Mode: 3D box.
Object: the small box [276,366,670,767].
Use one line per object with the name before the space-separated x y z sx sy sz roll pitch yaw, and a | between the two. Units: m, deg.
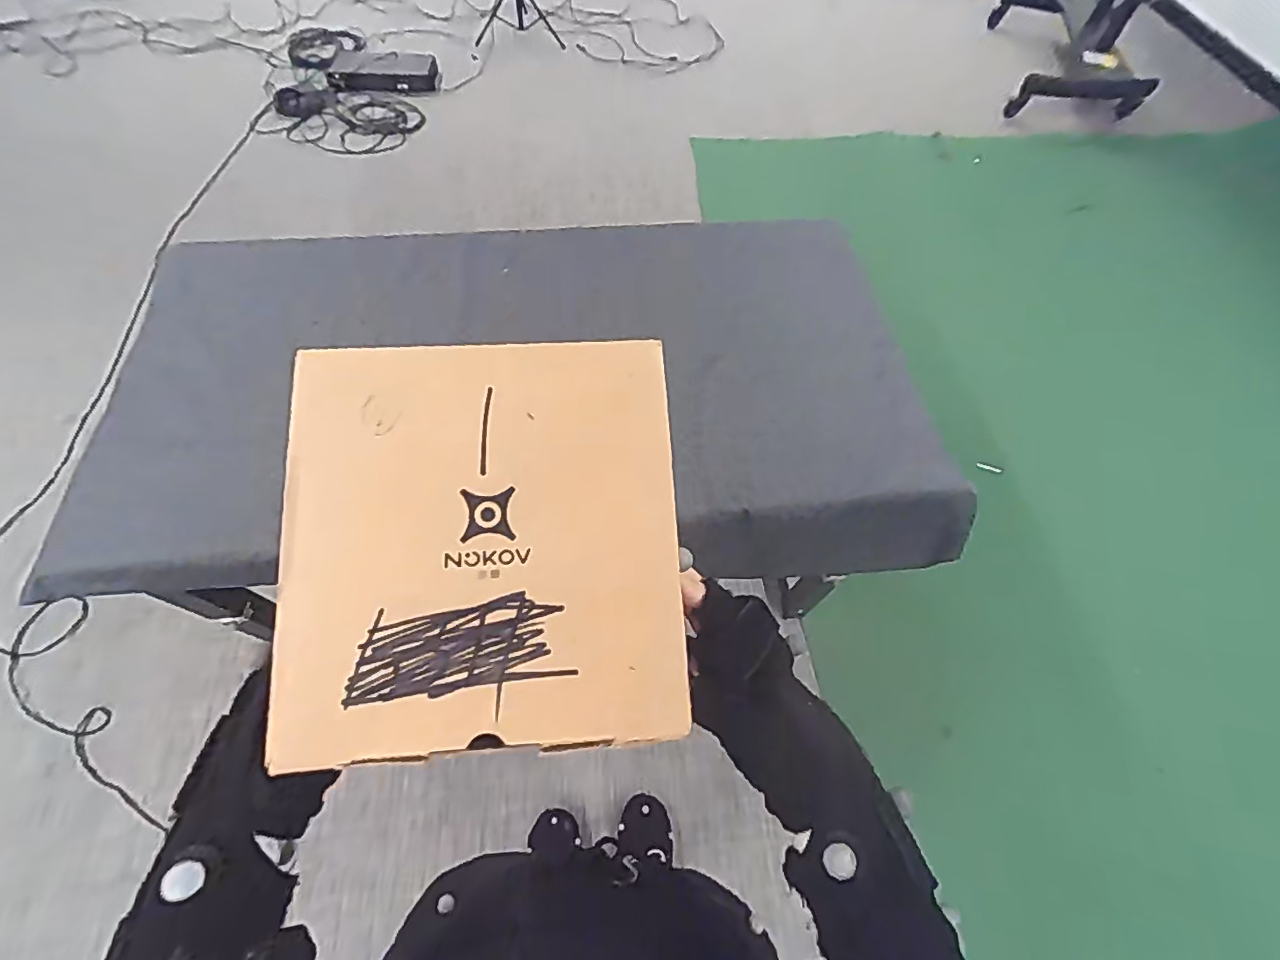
small box | -0.074 0.047 0.319 0.168 0.176 0.179 -1 77 -5
